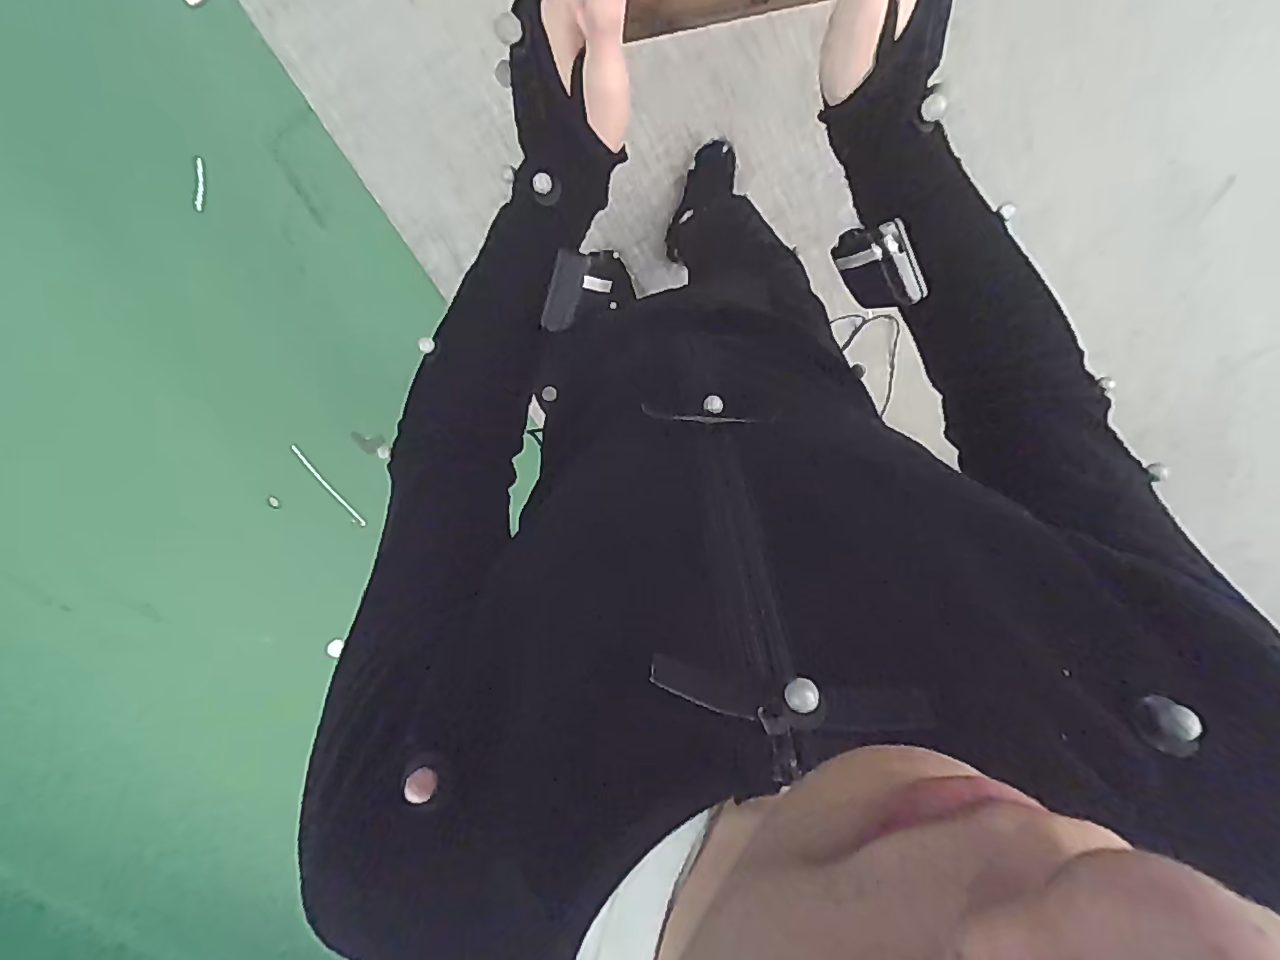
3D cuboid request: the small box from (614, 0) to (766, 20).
[{"bbox_3d":[0.044,-0.390,0.286,0.168,0.176,0.179,-6,104,7],"label":"small box"}]
